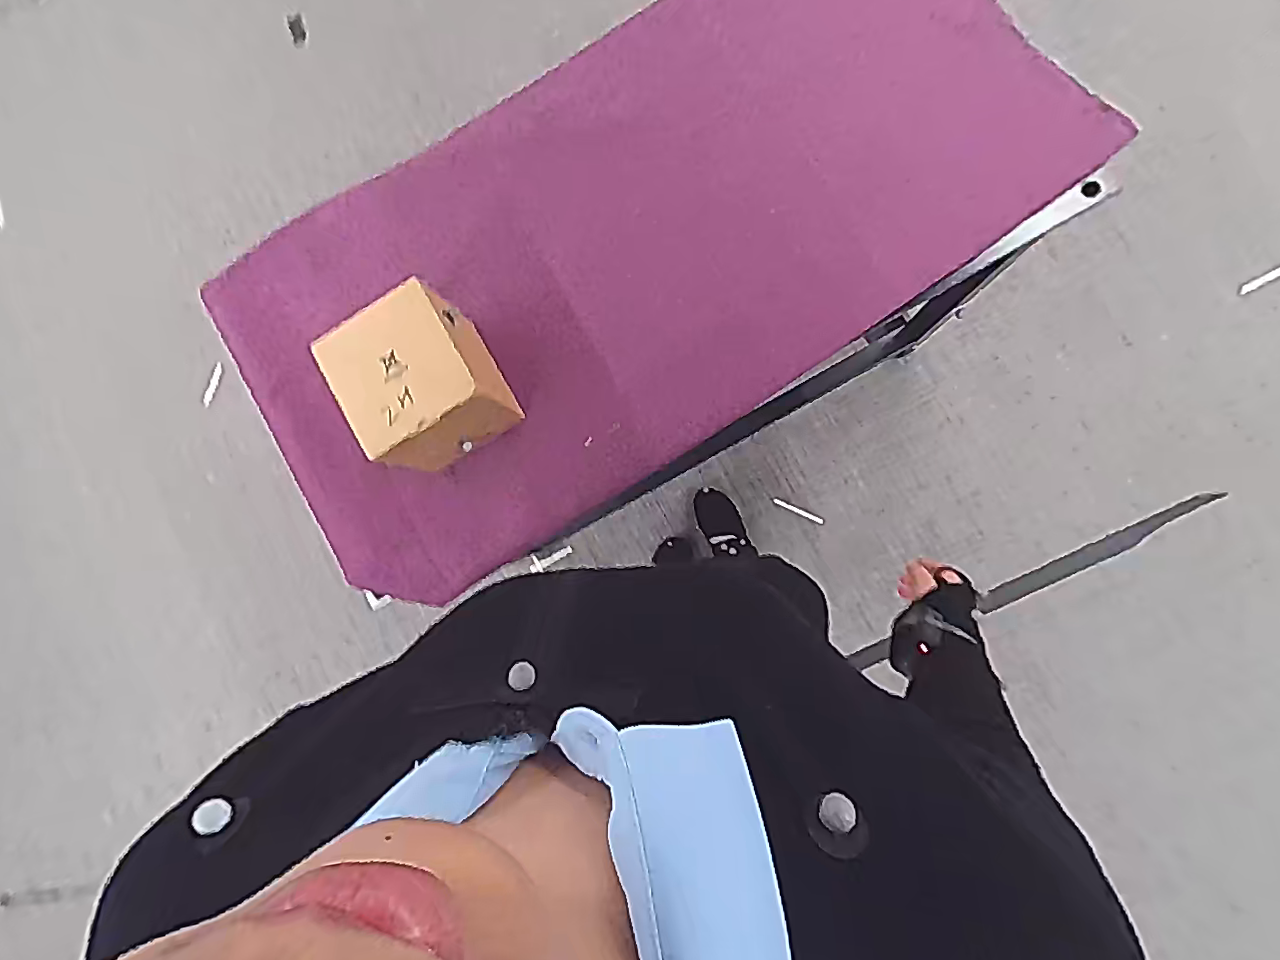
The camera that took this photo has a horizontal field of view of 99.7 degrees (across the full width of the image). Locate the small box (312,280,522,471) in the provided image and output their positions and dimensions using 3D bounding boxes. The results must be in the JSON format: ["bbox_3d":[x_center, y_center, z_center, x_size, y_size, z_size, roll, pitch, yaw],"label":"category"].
[{"bbox_3d":[-0.291,-0.129,0.740,0.168,0.176,0.179,-32,83,4],"label":"small box"}]
